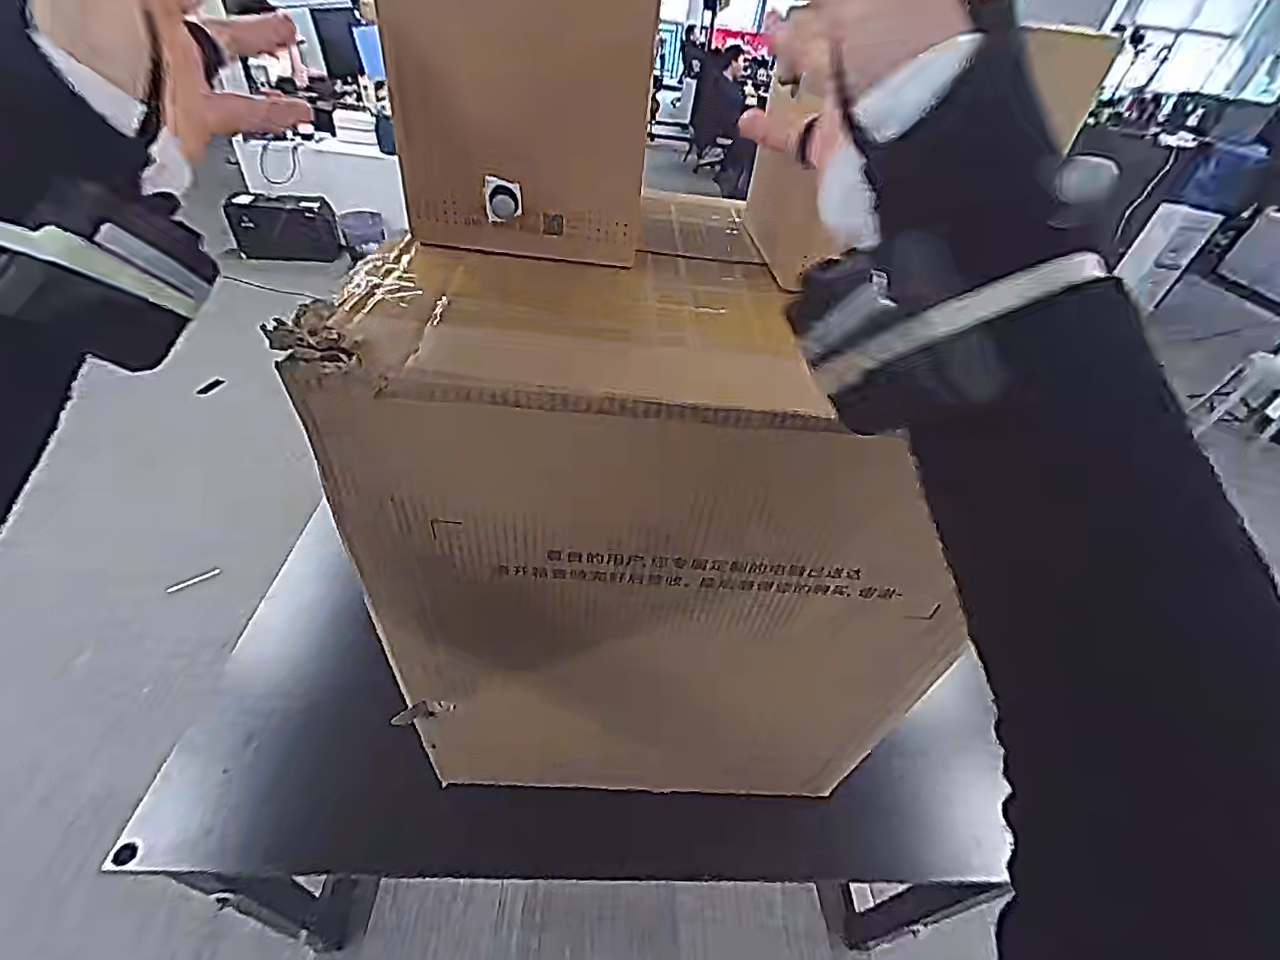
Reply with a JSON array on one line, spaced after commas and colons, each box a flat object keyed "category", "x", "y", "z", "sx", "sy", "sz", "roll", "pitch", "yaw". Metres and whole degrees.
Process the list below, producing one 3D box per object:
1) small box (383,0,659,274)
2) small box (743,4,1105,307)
[{"category": "small box", "x": -0.081, "y": -0.280, "z": 0.420, "sx": 0.168, "sy": 0.176, "sz": 0.179, "roll": 2, "pitch": 42, "yaw": -6}, {"category": "small box", "x": 0.189, "y": -0.258, "z": 0.433, "sx": 0.168, "sy": 0.176, "sz": 0.179, "roll": 2, "pitch": 42, "yaw": -5}]
